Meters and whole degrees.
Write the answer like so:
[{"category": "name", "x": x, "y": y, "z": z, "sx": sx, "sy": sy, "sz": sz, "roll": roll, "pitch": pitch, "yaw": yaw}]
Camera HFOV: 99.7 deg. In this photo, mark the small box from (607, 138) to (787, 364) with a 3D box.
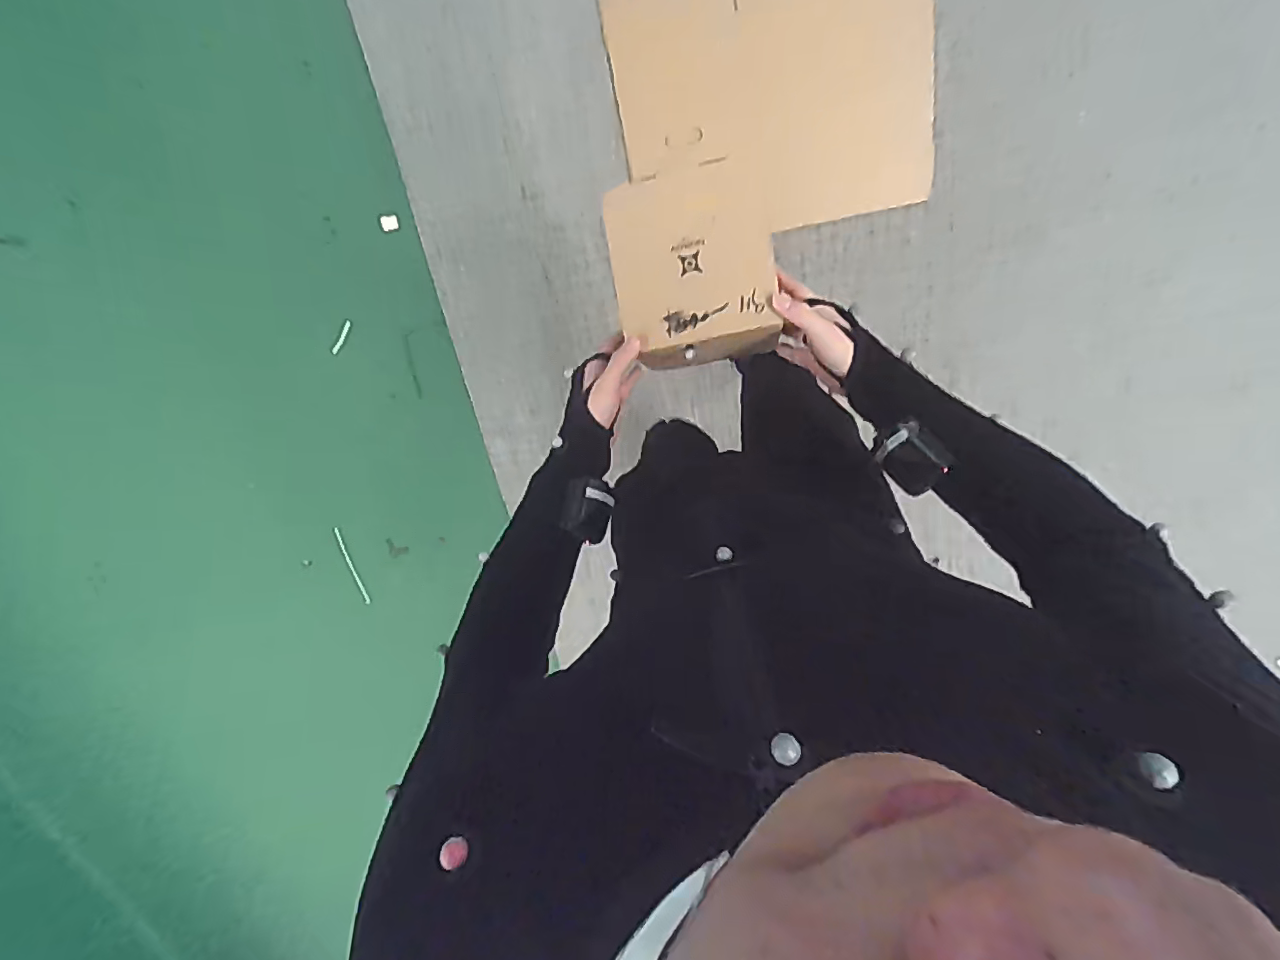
[{"category": "small box", "x": 0.071, "y": -0.244, "z": 0.624, "sx": 0.168, "sy": 0.176, "sz": 0.179, "roll": -8, "pitch": 92, "yaw": 13}]
